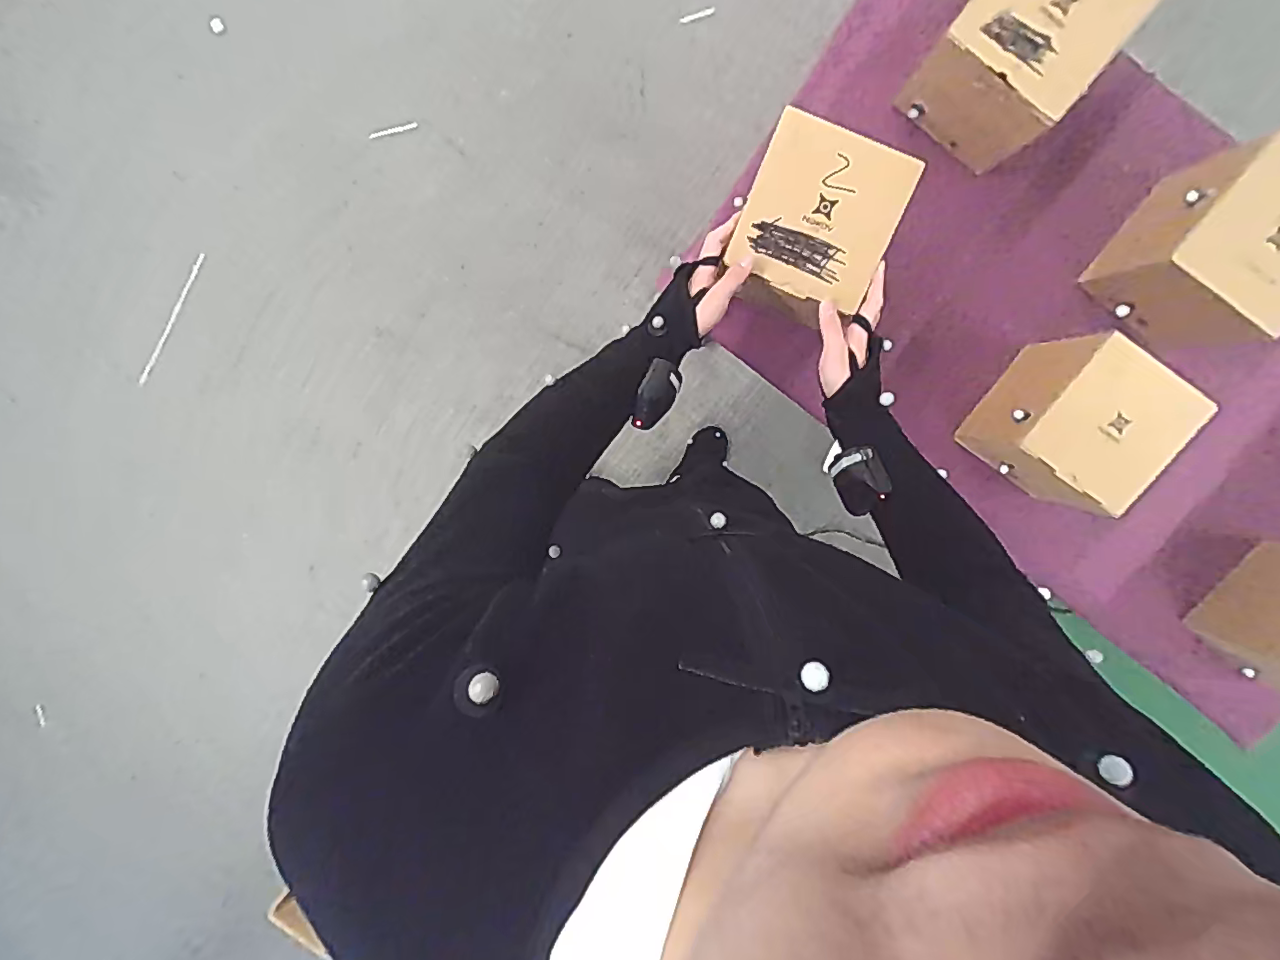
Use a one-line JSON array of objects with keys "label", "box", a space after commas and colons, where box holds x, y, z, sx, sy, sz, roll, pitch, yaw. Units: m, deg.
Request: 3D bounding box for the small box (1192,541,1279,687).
[{"label": "small box", "box": [0.973, 0.212, 0.768, 0.168, 0.176, 0.179, 38, 99, -1]}]

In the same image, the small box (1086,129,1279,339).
[{"label": "small box", "box": [0.750, -0.304, 0.701, 0.168, 0.176, 0.179, 37, 102, -2]}]

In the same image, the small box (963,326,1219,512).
[{"label": "small box", "box": [0.601, -0.087, 0.751, 0.168, 0.176, 0.179, 35, 101, -3]}]

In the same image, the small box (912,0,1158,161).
[{"label": "small box", "box": [0.475, -0.547, 0.676, 0.168, 0.176, 0.179, 38, 102, -3]}]
